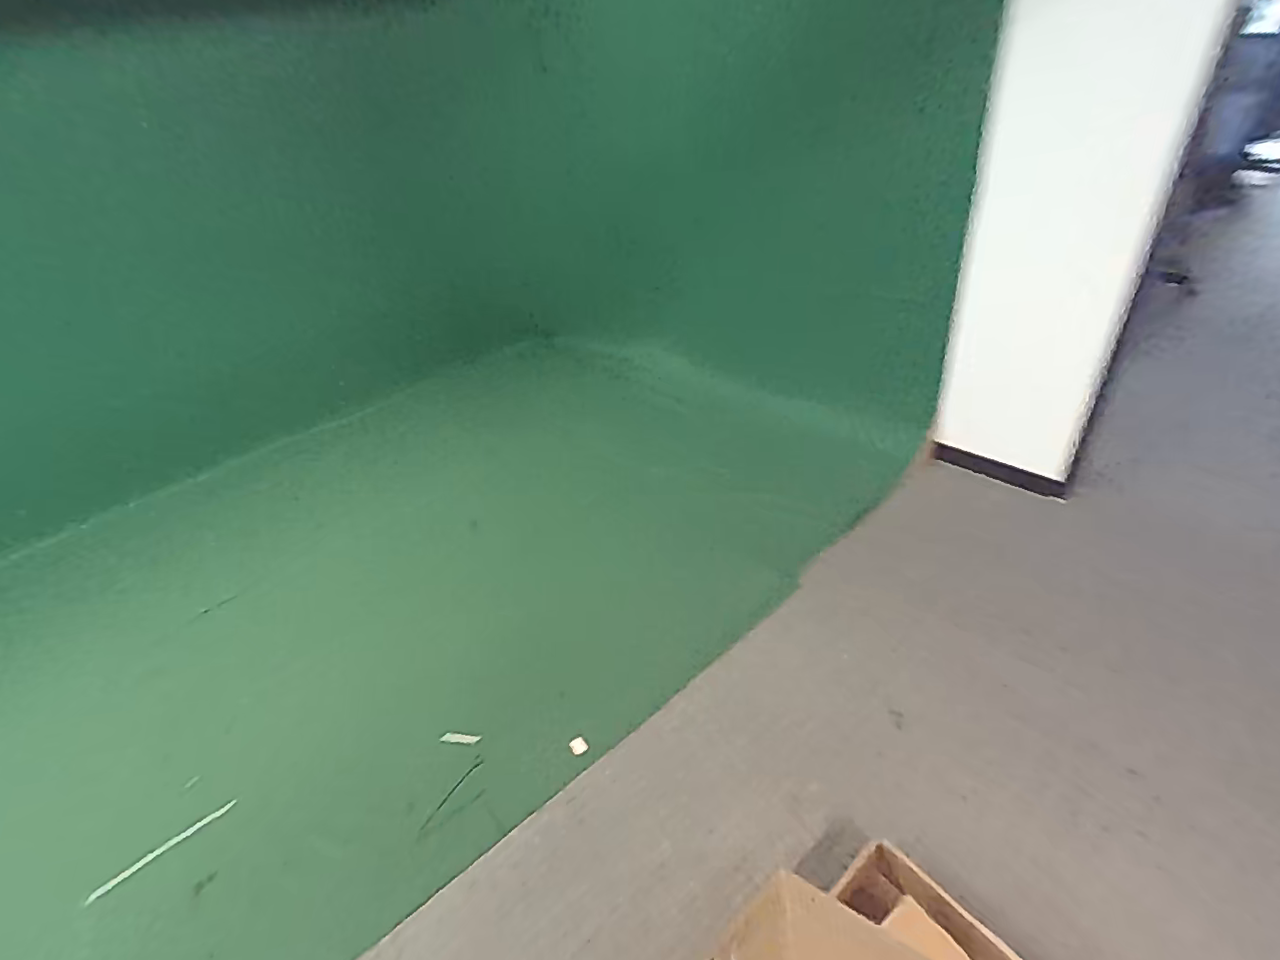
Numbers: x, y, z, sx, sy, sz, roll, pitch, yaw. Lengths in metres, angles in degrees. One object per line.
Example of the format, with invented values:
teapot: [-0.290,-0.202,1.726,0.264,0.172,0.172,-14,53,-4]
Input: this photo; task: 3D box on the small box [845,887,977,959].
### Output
small box: [0.490,0.894,0.968,0.179,0.176,0.168,-29,40,-21]
